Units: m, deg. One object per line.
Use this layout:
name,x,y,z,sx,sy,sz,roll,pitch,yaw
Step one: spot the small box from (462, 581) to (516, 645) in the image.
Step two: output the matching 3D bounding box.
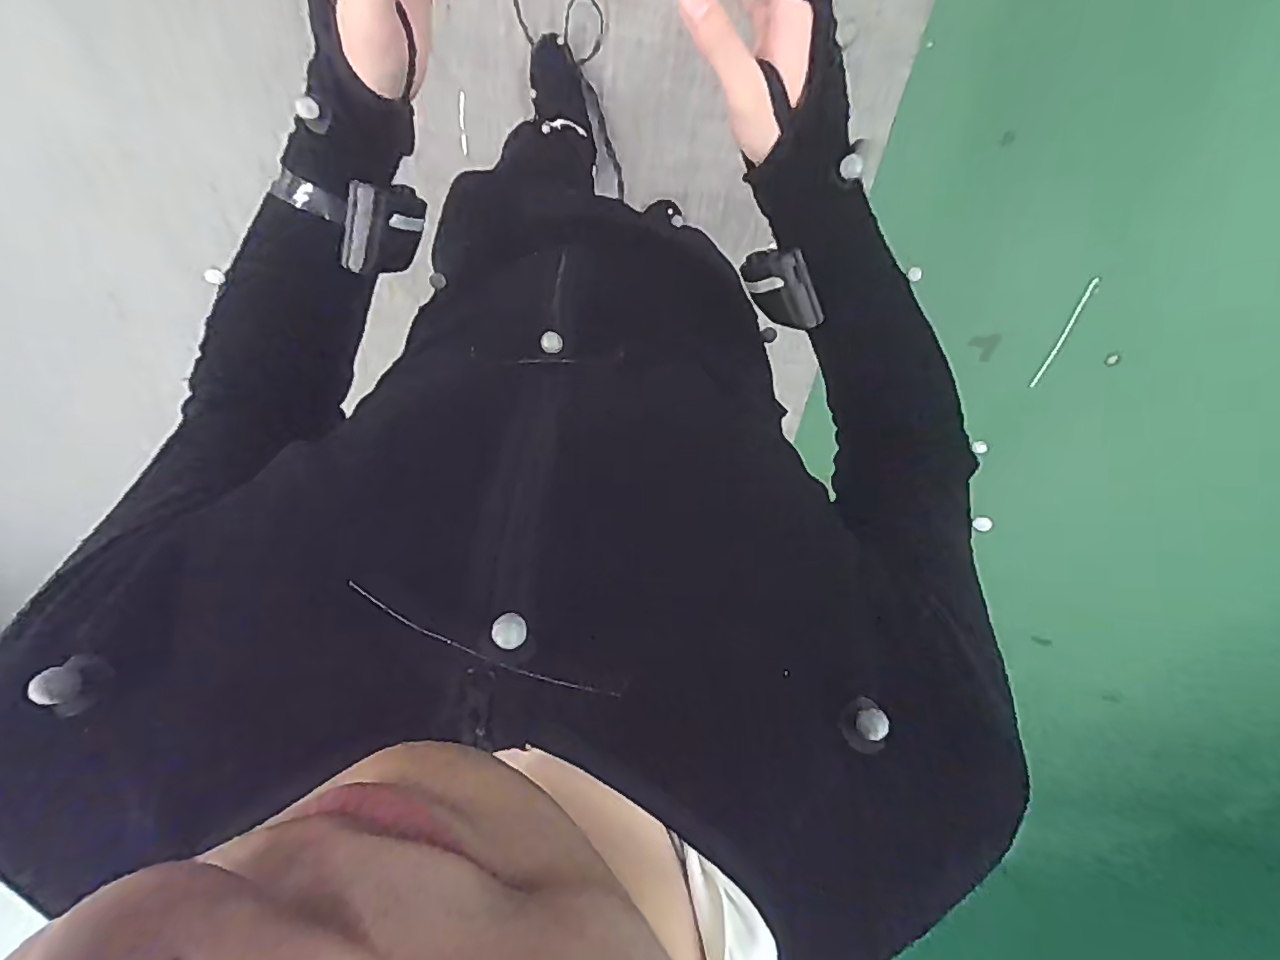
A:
small box,-0.585,0.513,2.098,0.179,0.176,0.168,8,124,-3

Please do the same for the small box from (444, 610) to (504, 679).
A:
small box,-0.594,0.591,1.956,0.168,0.176,0.179,4,125,-1
